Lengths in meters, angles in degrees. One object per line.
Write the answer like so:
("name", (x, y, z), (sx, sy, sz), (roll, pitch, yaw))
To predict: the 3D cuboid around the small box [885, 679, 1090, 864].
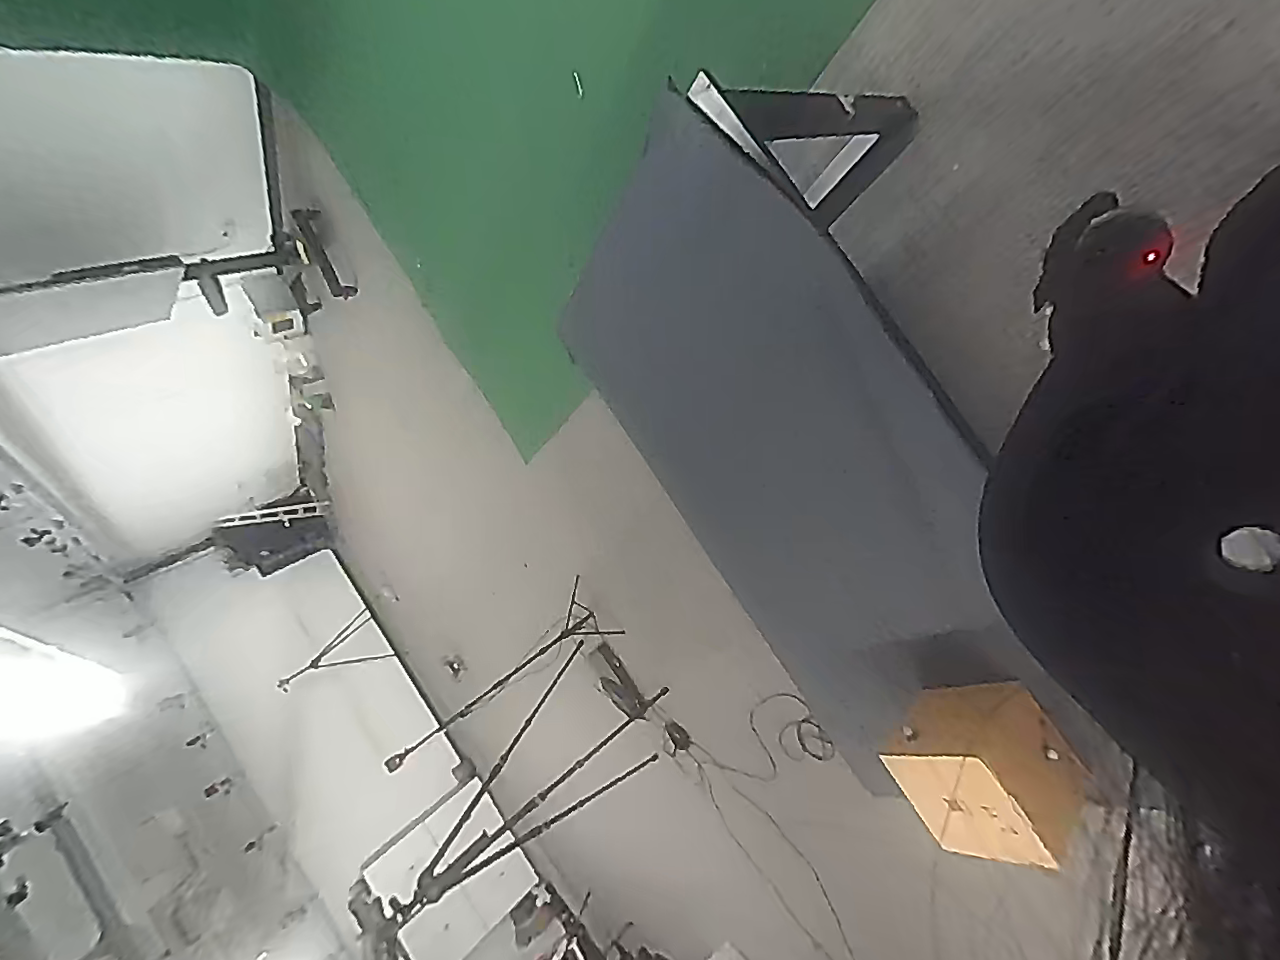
("small box", (0.519, 0.423, 0.811), (0.168, 0.176, 0.179), (55, 145, 7))
